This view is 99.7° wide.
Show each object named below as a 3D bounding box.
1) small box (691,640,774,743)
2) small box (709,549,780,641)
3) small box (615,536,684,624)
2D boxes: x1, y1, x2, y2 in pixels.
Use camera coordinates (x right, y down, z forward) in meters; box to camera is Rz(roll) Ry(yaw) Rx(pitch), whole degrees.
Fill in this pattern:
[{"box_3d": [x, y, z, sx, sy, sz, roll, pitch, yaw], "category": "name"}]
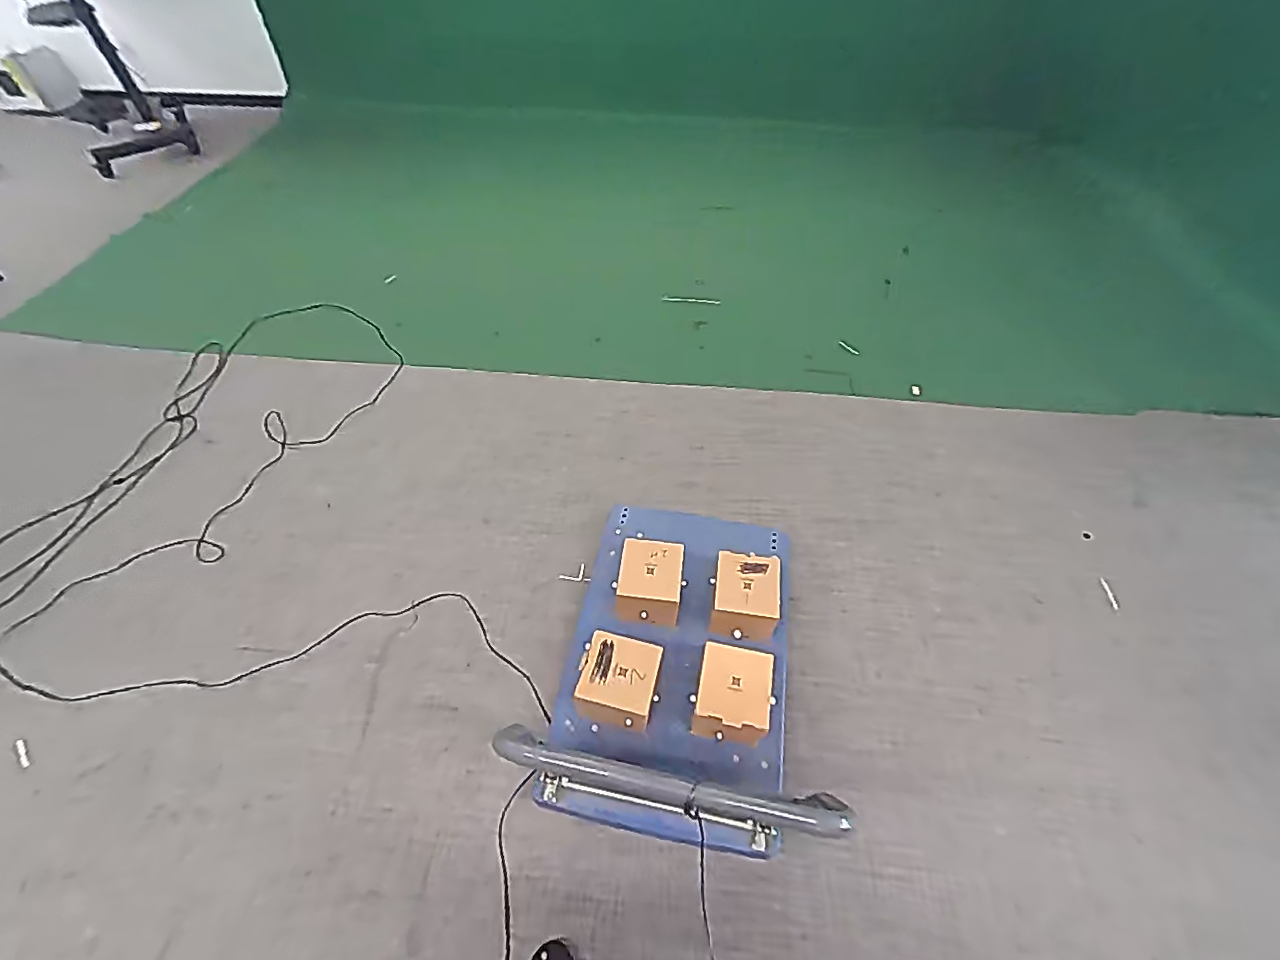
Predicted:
[{"box_3d": [0.221, 0.517, 1.318, 0.168, 0.176, 0.179, 10, 53, 7], "category": "small box"}, {"box_3d": [0.282, 0.314, 1.473, 0.168, 0.176, 0.179, 7, 53, 6], "category": "small box"}, {"box_3d": [0.028, 0.281, 1.498, 0.168, 0.176, 0.179, 7, 52, 4], "category": "small box"}]
